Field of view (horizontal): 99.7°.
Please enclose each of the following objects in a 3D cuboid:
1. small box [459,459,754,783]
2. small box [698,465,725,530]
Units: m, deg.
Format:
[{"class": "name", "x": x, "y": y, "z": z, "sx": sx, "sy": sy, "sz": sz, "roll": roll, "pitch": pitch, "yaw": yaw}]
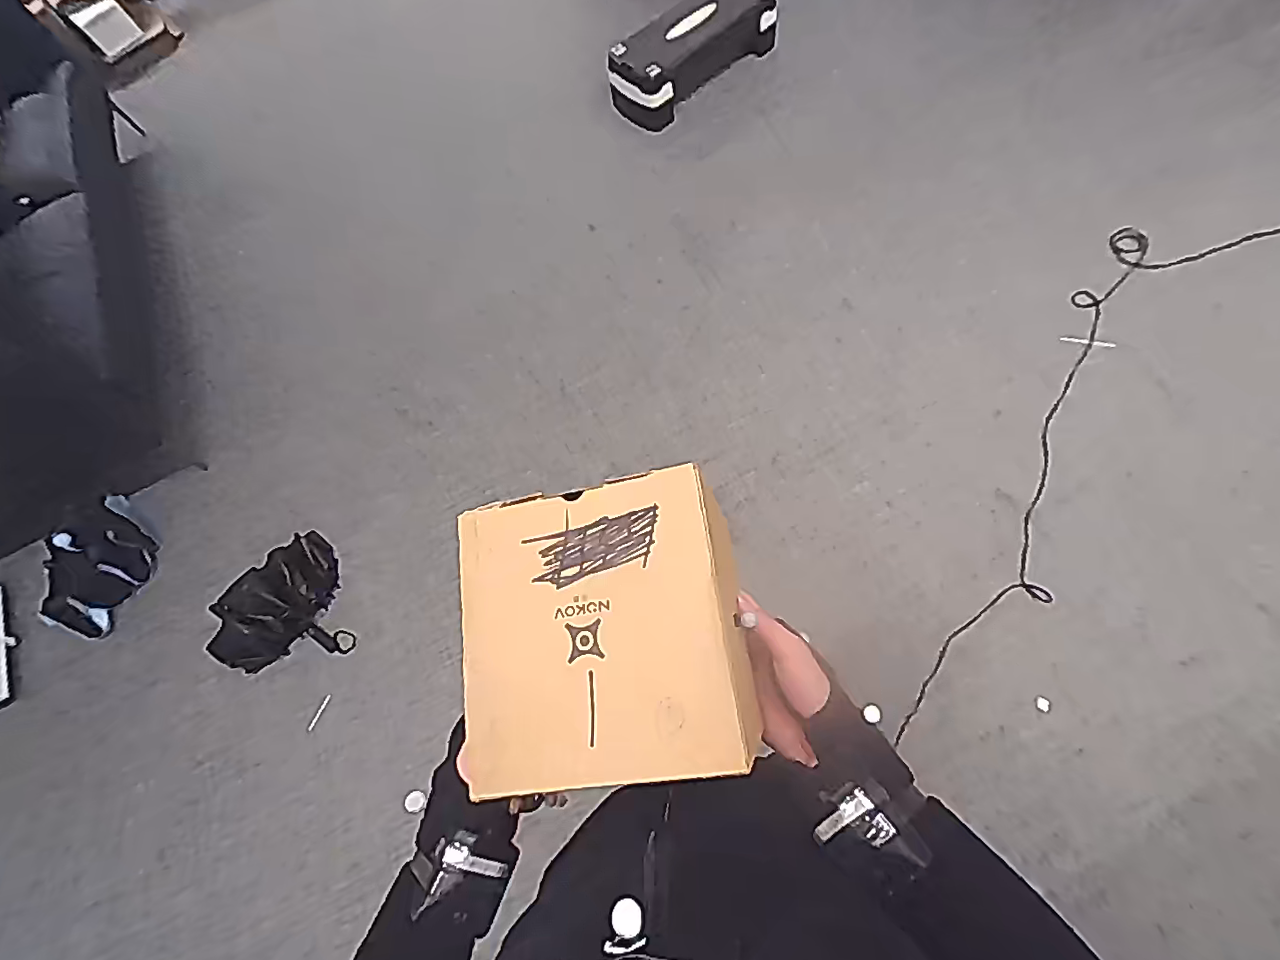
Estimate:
[{"class": "small box", "x": -0.015, "y": 0.103, "z": 0.399, "sx": 0.168, "sy": 0.176, "sz": 0.179, "roll": -11, "pitch": 73, "yaw": 13}, {"class": "small box", "x": 0.125, "y": 0.086, "z": 1.466, "sx": 0.179, "sy": 0.176, "sz": 0.168, "roll": -20, "pitch": 69, "yaw": 1}]
